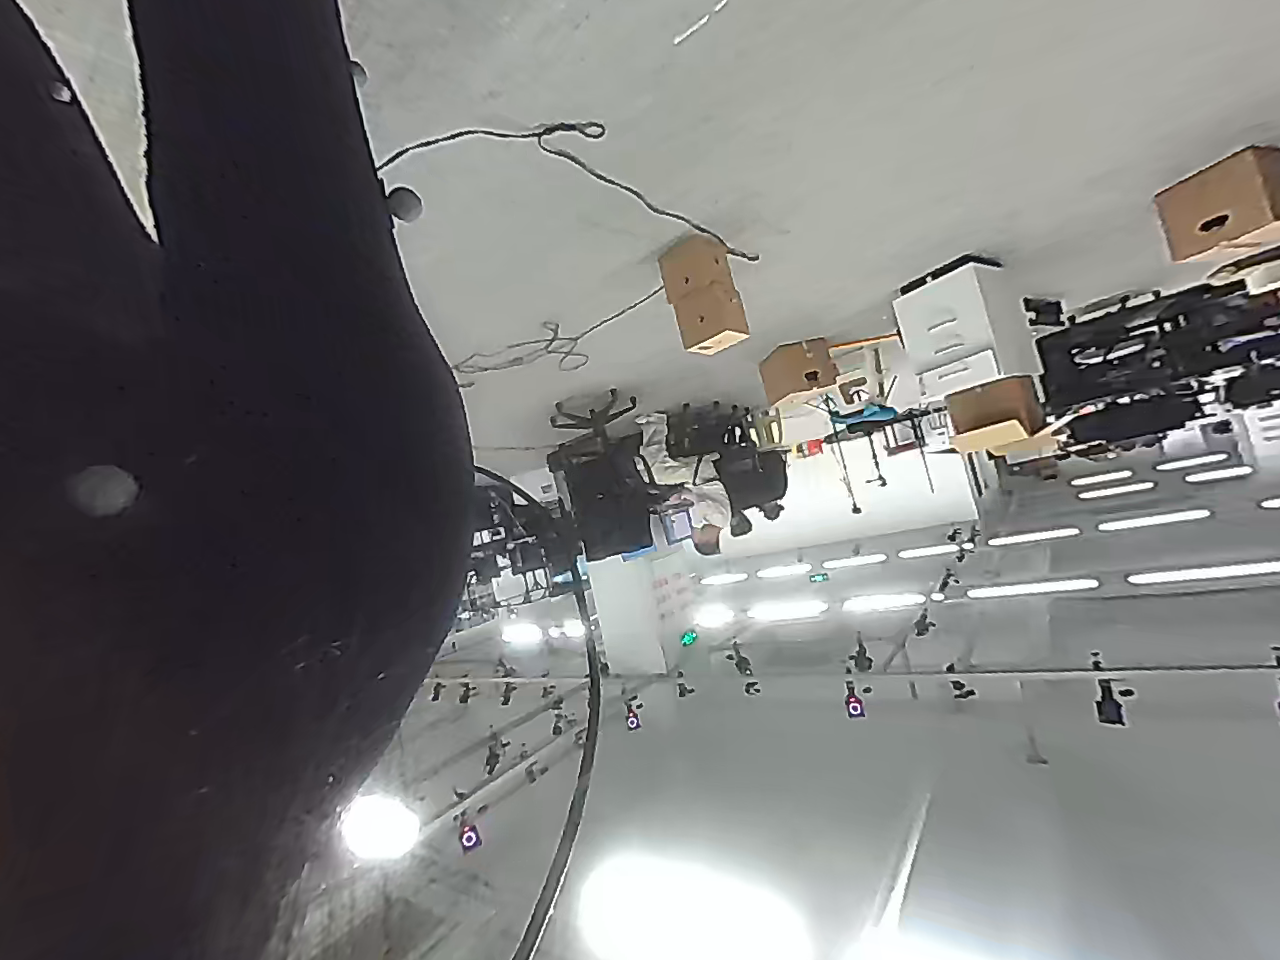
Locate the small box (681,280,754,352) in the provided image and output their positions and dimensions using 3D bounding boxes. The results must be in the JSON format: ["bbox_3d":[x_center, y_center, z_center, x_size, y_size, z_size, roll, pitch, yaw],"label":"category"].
[{"bbox_3d":[0.257,-0.552,1.837,0.179,0.176,0.168,-19,174,40],"label":"small box"}]

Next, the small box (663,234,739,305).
[{"bbox_3d":[0.203,-0.708,1.838,0.168,0.176,0.179,-9,174,-46],"label":"small box"}]
